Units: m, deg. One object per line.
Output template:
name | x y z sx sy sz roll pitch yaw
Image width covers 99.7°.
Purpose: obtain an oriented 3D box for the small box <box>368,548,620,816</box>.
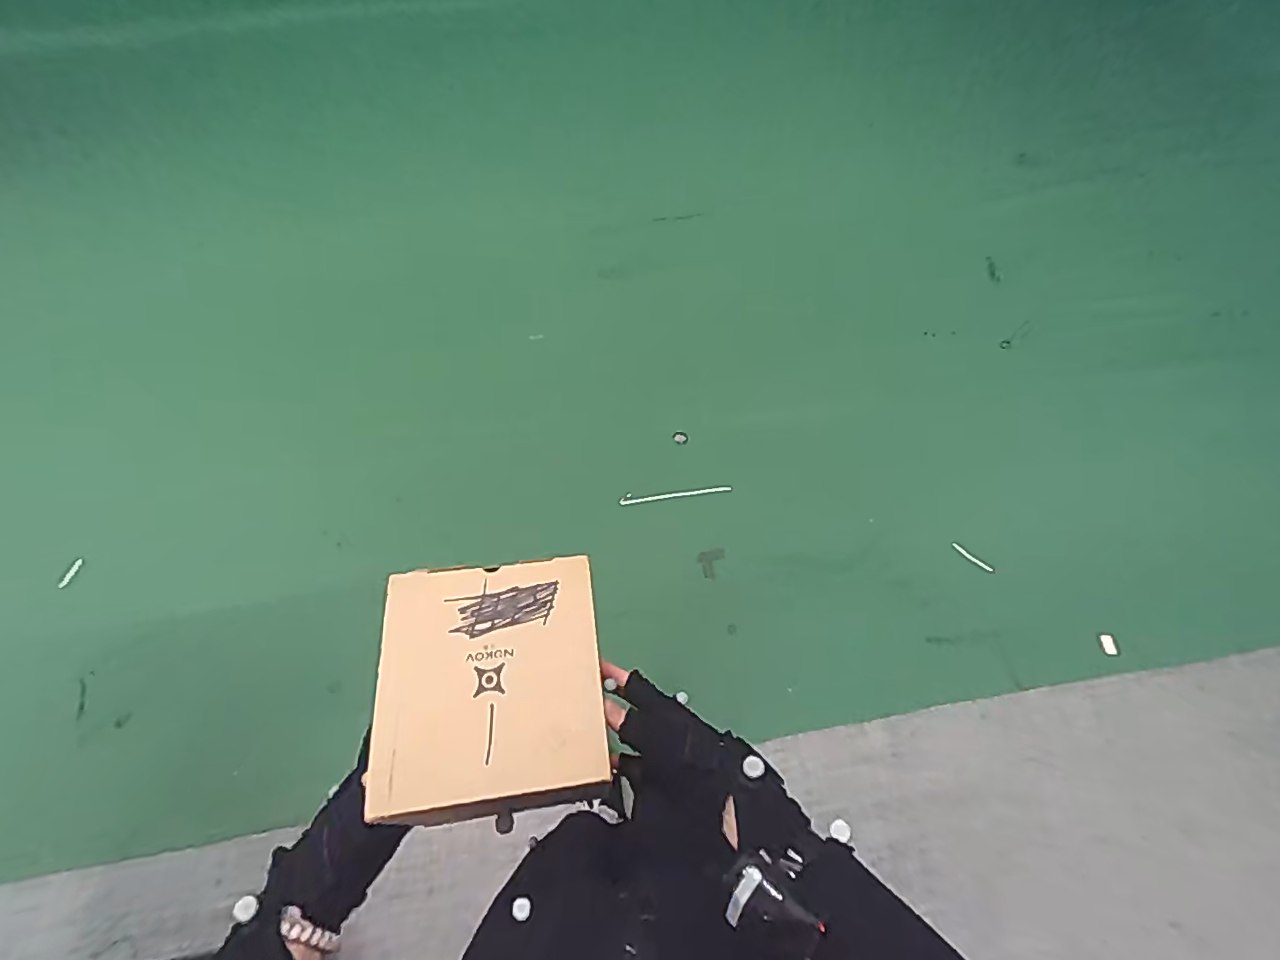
small box | -0.111 0.177 0.468 0.168 0.176 0.179 -3 57 -8
